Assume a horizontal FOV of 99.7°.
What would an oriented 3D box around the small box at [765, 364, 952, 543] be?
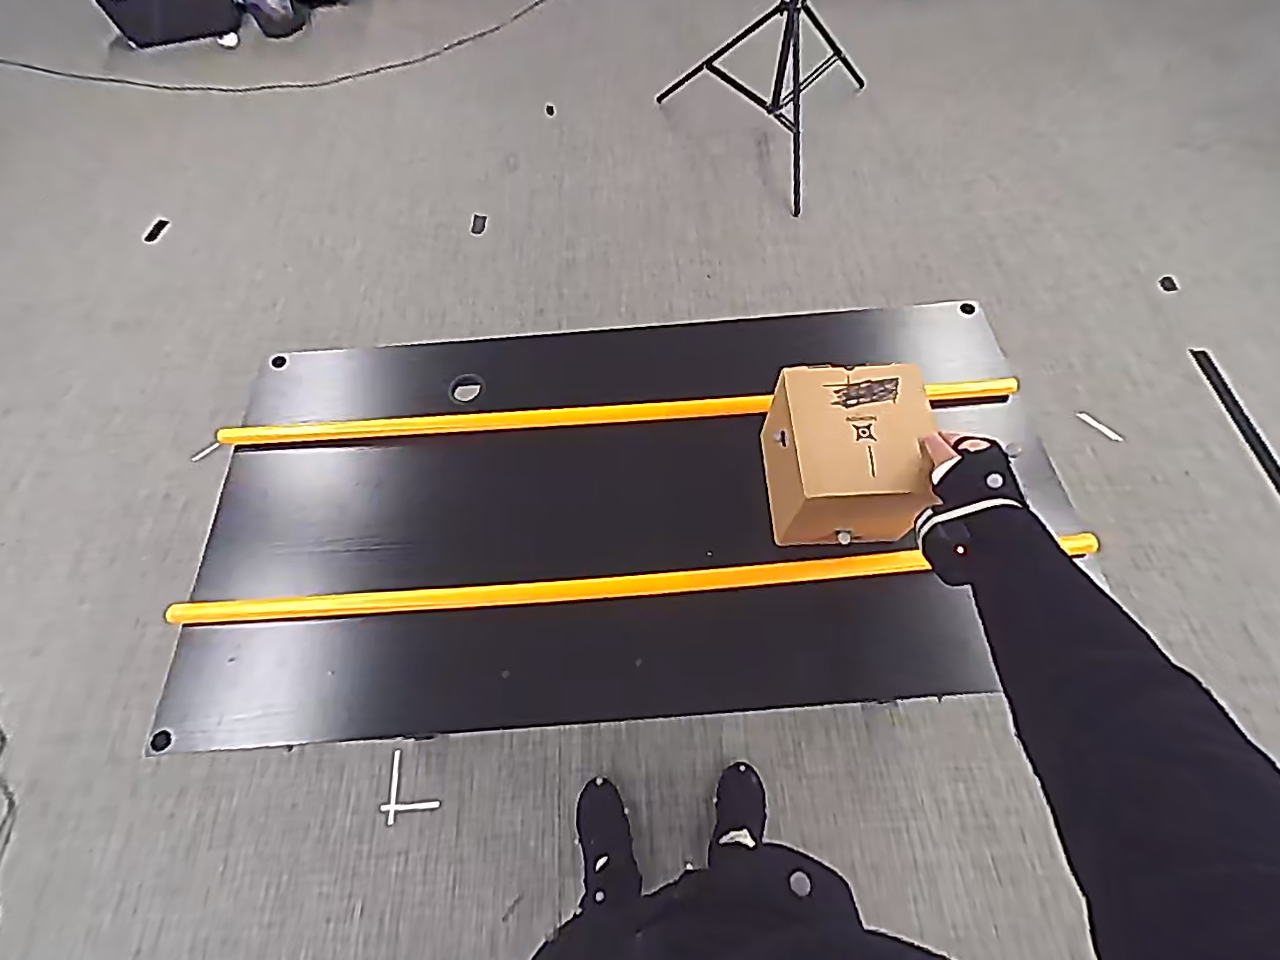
[{"bbox_3d":[0.263,-0.029,0.701,0.168,0.176,0.179,-2,65,2],"label":"small box"}]
